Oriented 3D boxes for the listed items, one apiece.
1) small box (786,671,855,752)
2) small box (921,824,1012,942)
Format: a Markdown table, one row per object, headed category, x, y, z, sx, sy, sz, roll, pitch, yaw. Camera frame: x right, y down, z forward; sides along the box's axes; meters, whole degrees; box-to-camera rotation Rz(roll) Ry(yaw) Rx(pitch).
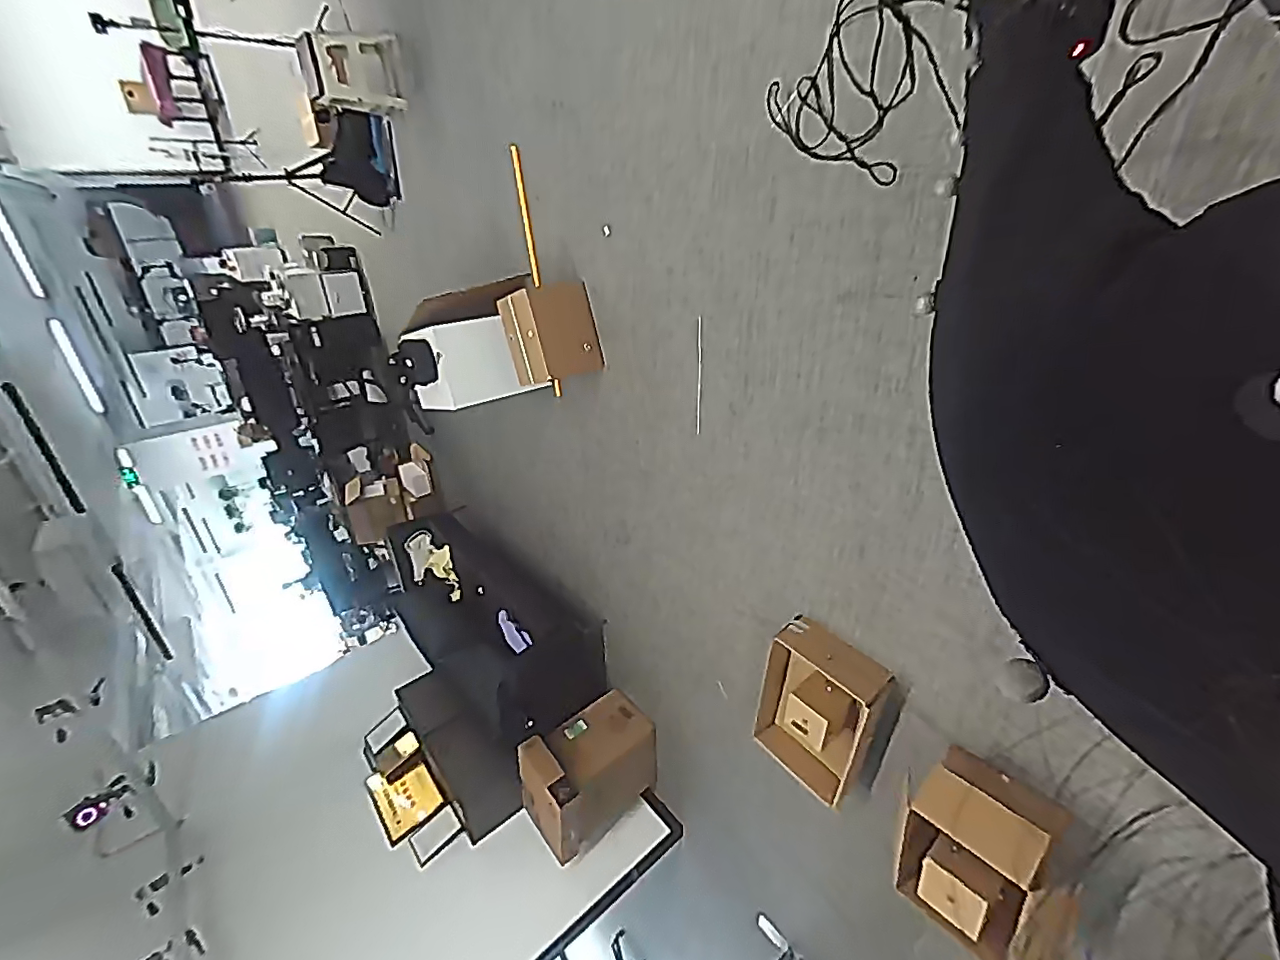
| category | x | y | z | sx | sy | sz | roll | pitch | yaw |
| --- | --- | --- | --- | --- | --- | --- | --- | --- | --- |
| small box | 0.667 | 0.850 | 1.994 | 0.168 | 0.176 | 0.179 | 30 | 132 | 42 |
| small box | 0.939 | 1.145 | 1.552 | 0.168 | 0.176 | 0.179 | 23 | 124 | 47 |
